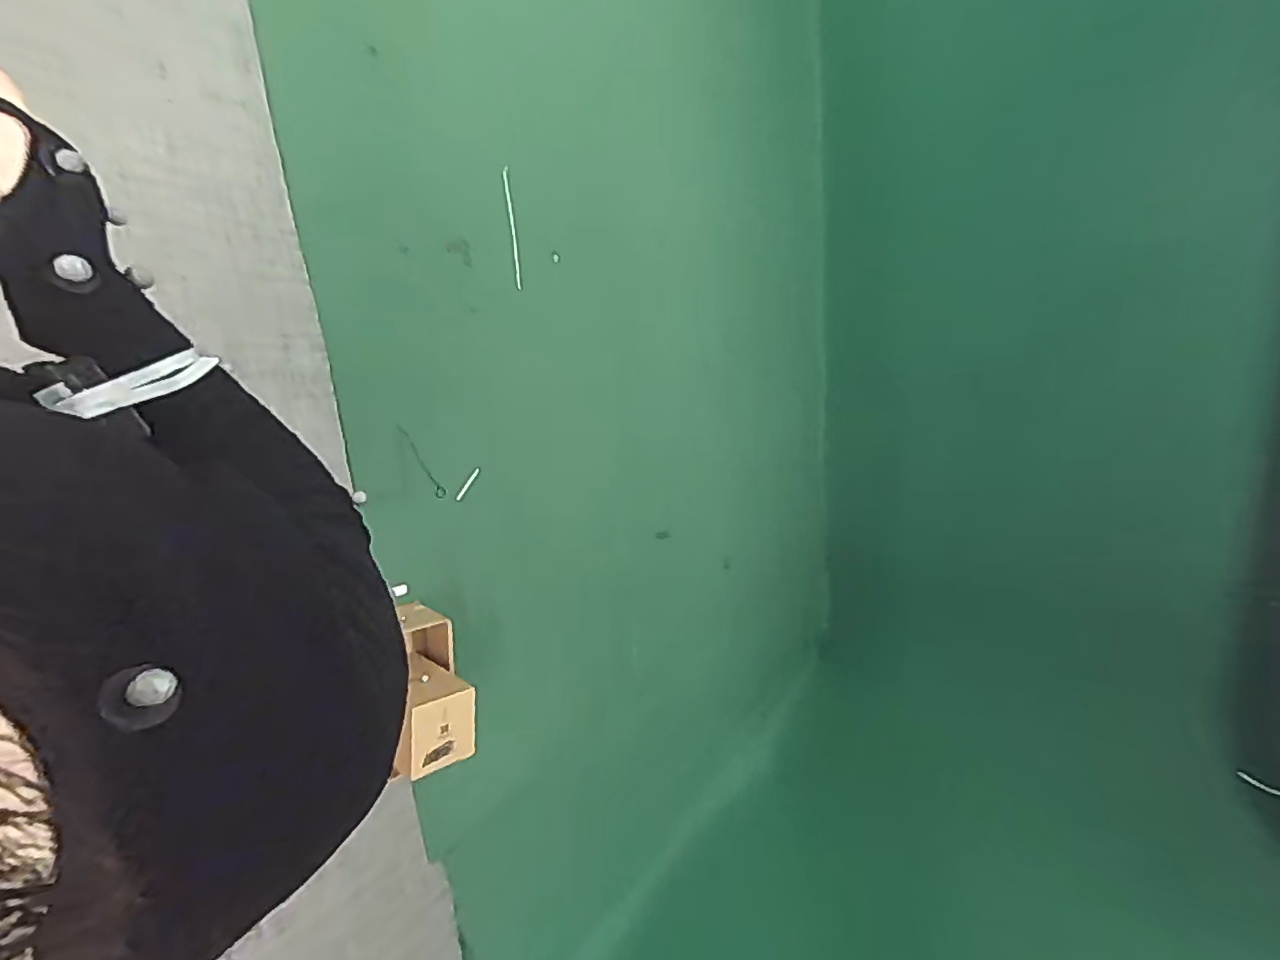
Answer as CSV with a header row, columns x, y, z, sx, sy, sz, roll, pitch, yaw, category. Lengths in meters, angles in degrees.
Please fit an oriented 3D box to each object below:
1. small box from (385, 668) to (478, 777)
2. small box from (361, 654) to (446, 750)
x,y,z,sx,sy,sz,roll,pitch,yaw,category
-0.525,0.599,1.361,0.168,0.176,0.179,-2,94,-48,small box
-0.645,0.591,1.472,0.168,0.176,0.179,-4,97,-47,small box
